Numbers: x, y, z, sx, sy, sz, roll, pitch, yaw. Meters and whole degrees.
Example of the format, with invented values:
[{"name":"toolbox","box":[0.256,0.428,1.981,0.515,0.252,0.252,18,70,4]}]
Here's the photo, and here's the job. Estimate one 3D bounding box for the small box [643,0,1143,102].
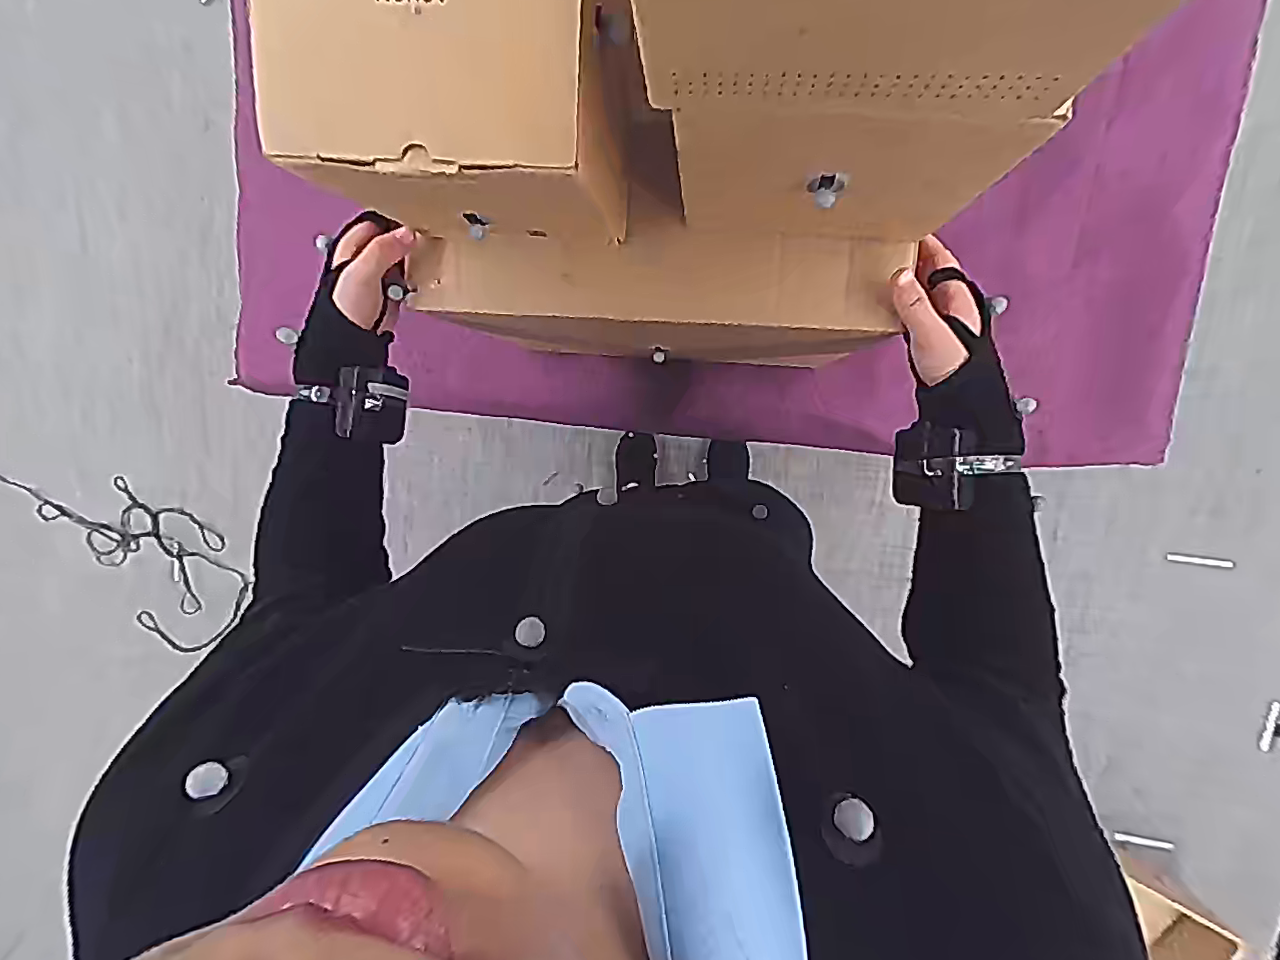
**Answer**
[{"name":"small box","box":[0.087,-0.235,0.145,0.179,0.176,0.168,6,98,6]}]
